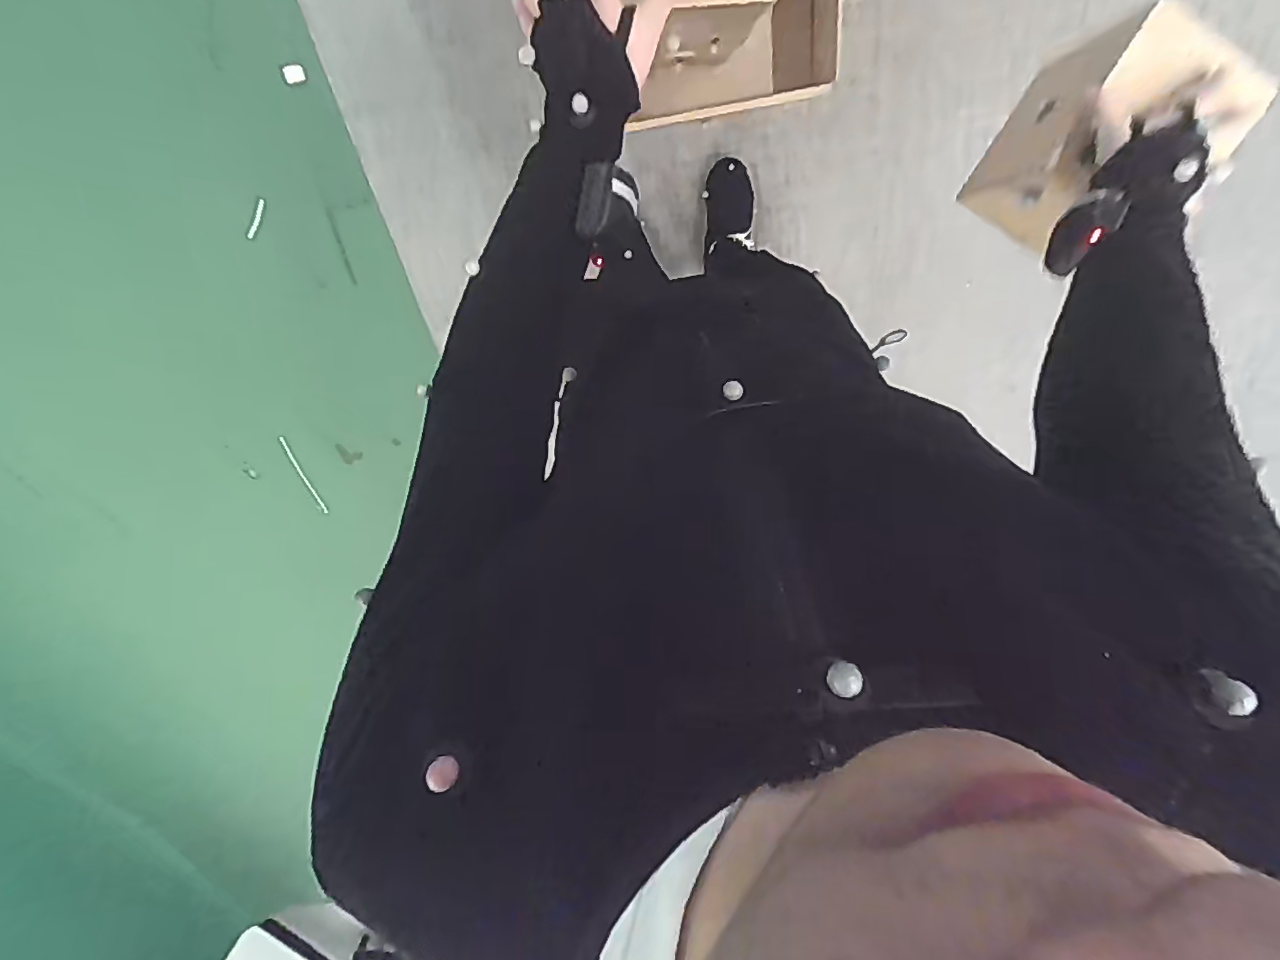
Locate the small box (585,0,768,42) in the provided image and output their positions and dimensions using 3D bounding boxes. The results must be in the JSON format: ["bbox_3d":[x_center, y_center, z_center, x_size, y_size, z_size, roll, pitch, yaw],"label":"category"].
[{"bbox_3d":[0.030,-0.534,0.501,0.168,0.176,0.179,-2,123,3],"label":"small box"}]

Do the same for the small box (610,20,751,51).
[{"bbox_3d":[0.045,-0.626,0.636,0.168,0.176,0.179,-2,122,3],"label":"small box"}]
